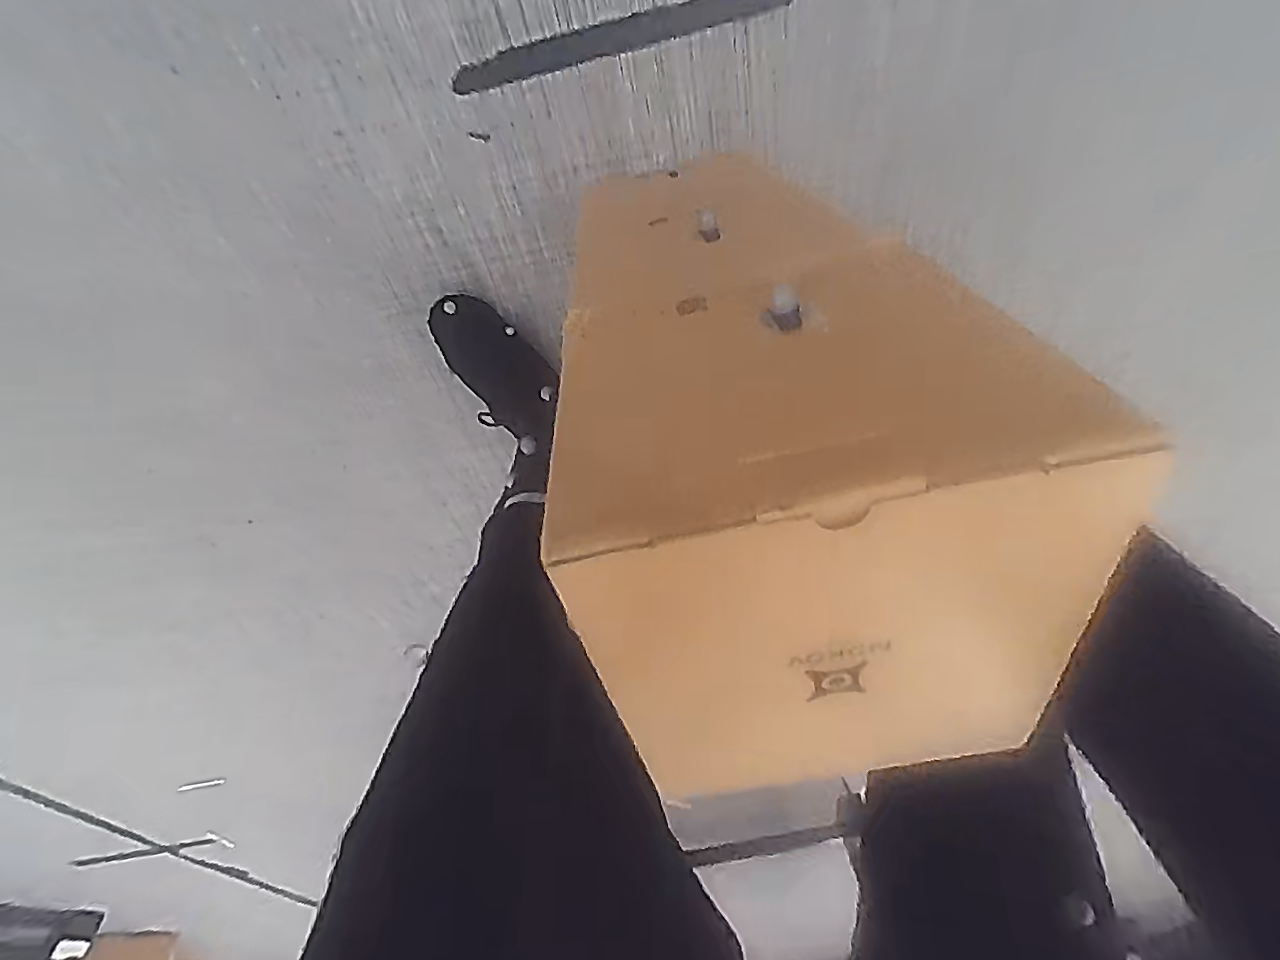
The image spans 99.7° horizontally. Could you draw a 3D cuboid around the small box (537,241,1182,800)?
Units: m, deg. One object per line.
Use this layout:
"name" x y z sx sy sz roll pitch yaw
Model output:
"small box" 0.065 0.018 0.251 0.168 0.176 0.179 -12 129 6
